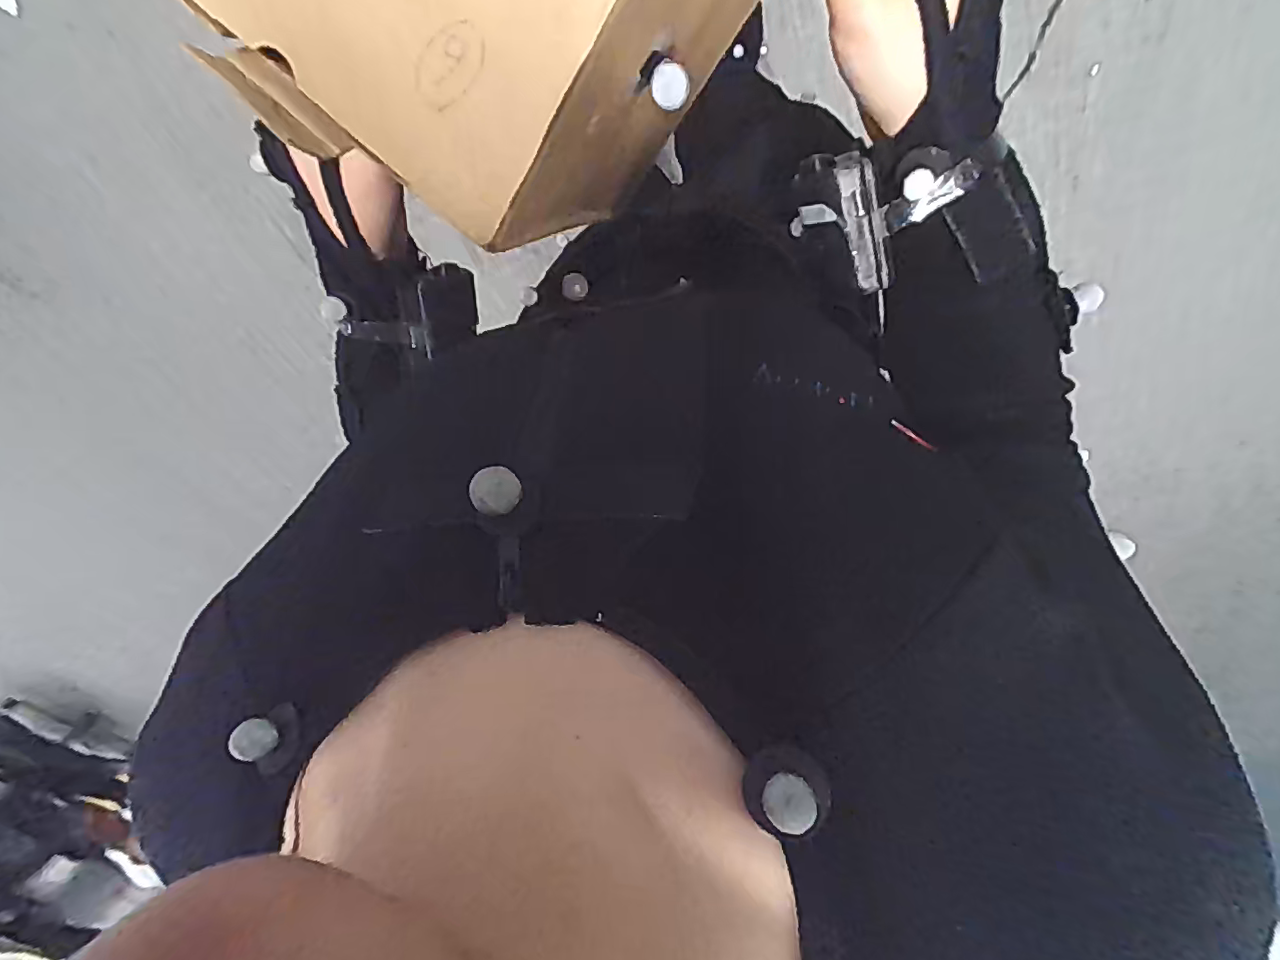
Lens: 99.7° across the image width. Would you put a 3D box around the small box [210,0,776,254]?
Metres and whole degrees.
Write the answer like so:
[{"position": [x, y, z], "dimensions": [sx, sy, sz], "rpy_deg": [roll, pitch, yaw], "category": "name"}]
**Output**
[{"position": [-0.037, -0.222, 0.207], "dimensions": [0.168, 0.176, 0.179], "rpy_deg": [39, 122, -9], "category": "small box"}]
